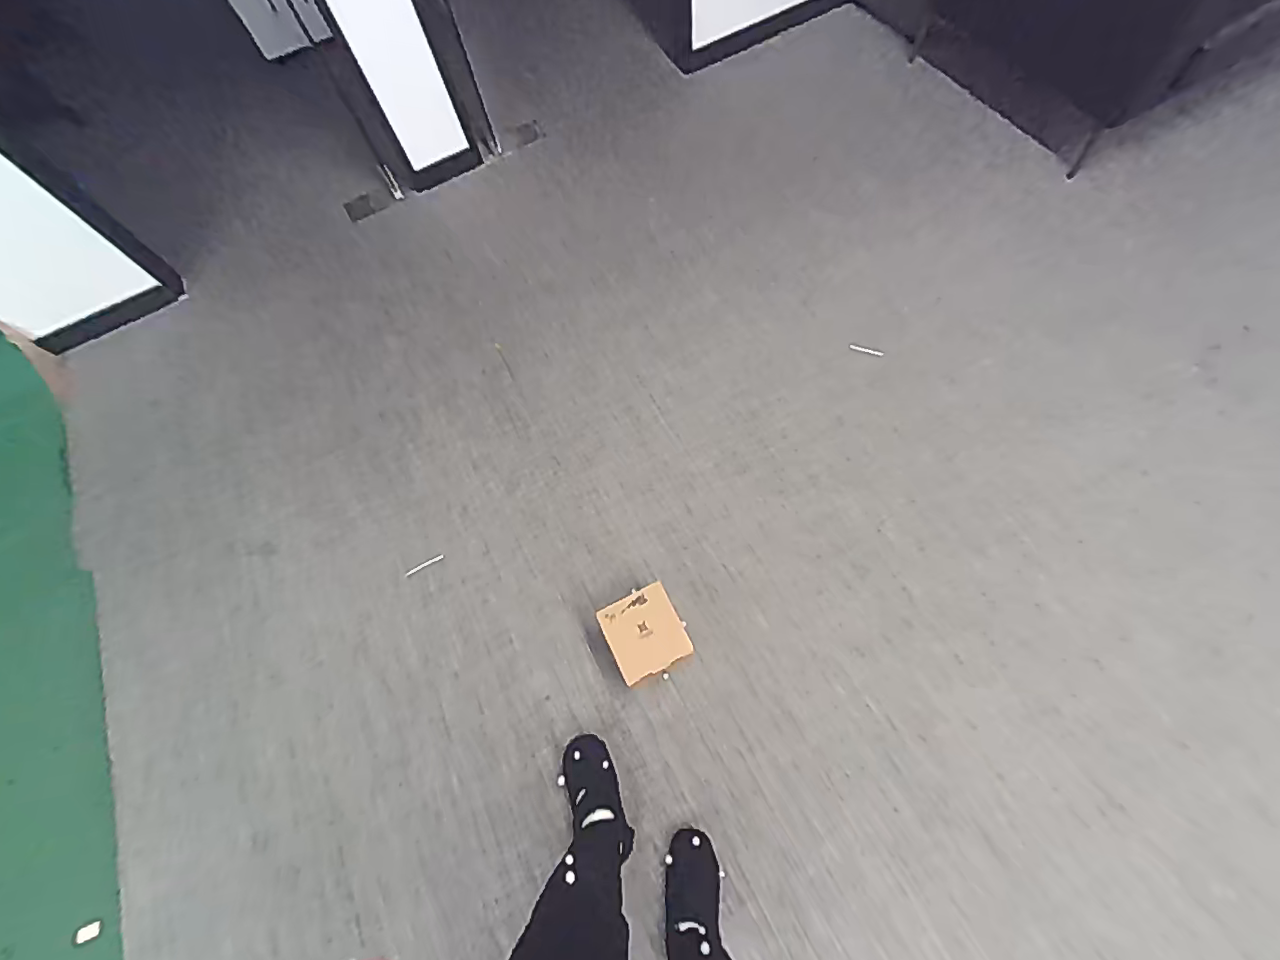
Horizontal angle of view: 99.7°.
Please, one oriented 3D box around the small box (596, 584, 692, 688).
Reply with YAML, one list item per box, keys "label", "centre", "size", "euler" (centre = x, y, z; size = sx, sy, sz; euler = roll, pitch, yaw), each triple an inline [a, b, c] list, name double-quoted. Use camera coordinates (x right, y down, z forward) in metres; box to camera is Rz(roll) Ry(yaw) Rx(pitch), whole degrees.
- label: "small box"
  centre: [0.015, 0.369, 1.265]
  size: [0.168, 0.176, 0.179]
  euler: [-25, 66, -6]
